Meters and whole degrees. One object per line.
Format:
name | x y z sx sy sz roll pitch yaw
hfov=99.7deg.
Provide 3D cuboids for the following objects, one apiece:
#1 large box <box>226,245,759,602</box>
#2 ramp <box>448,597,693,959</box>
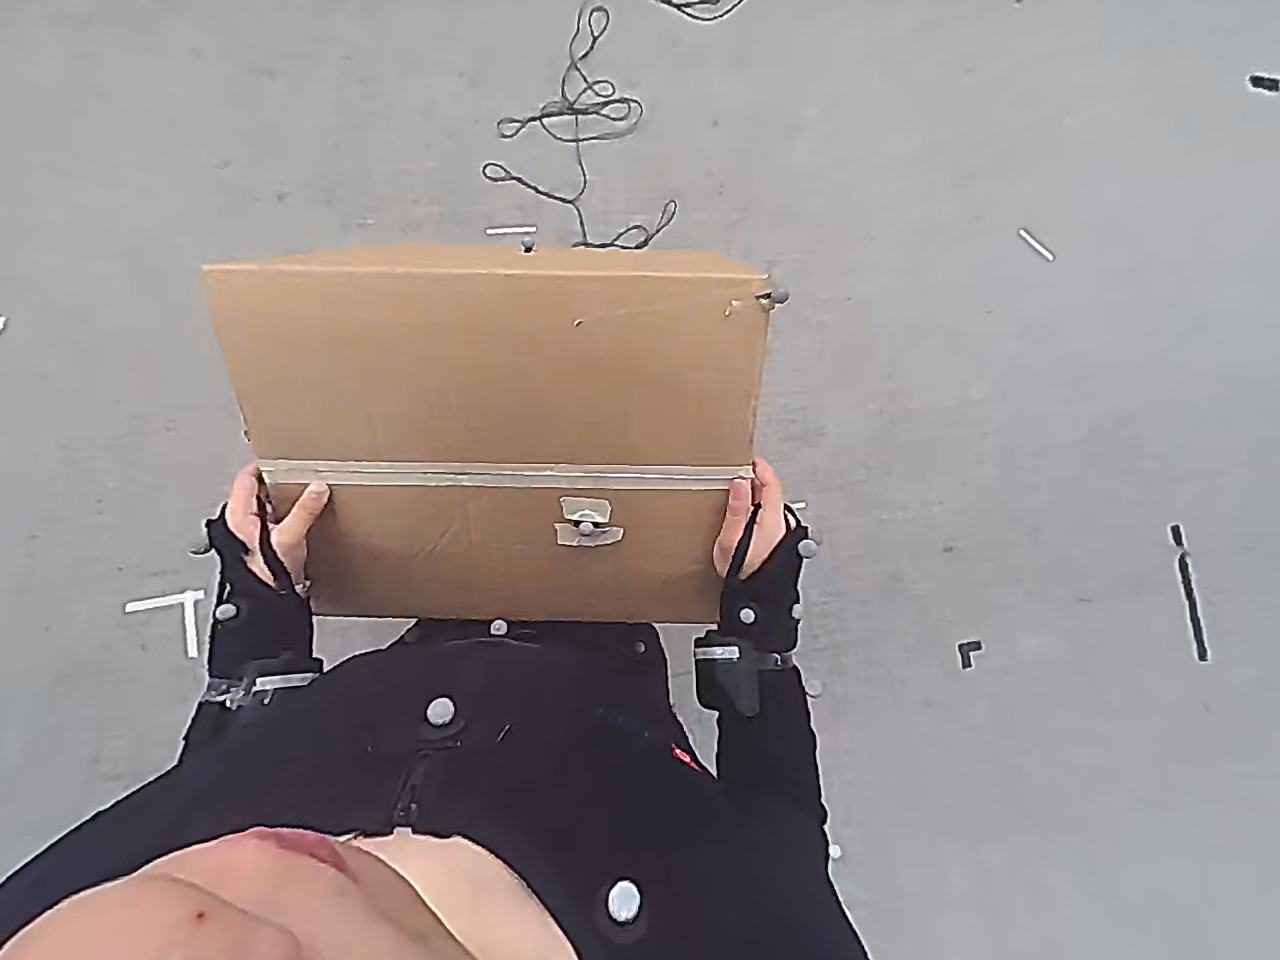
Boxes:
large box | -0.112 -0.086 0.597 0.408 0.320 0.320 0 117 -1
ramp | -0.172 0.810 1.262 0.509 0.206 0.991 -9 83 -6
